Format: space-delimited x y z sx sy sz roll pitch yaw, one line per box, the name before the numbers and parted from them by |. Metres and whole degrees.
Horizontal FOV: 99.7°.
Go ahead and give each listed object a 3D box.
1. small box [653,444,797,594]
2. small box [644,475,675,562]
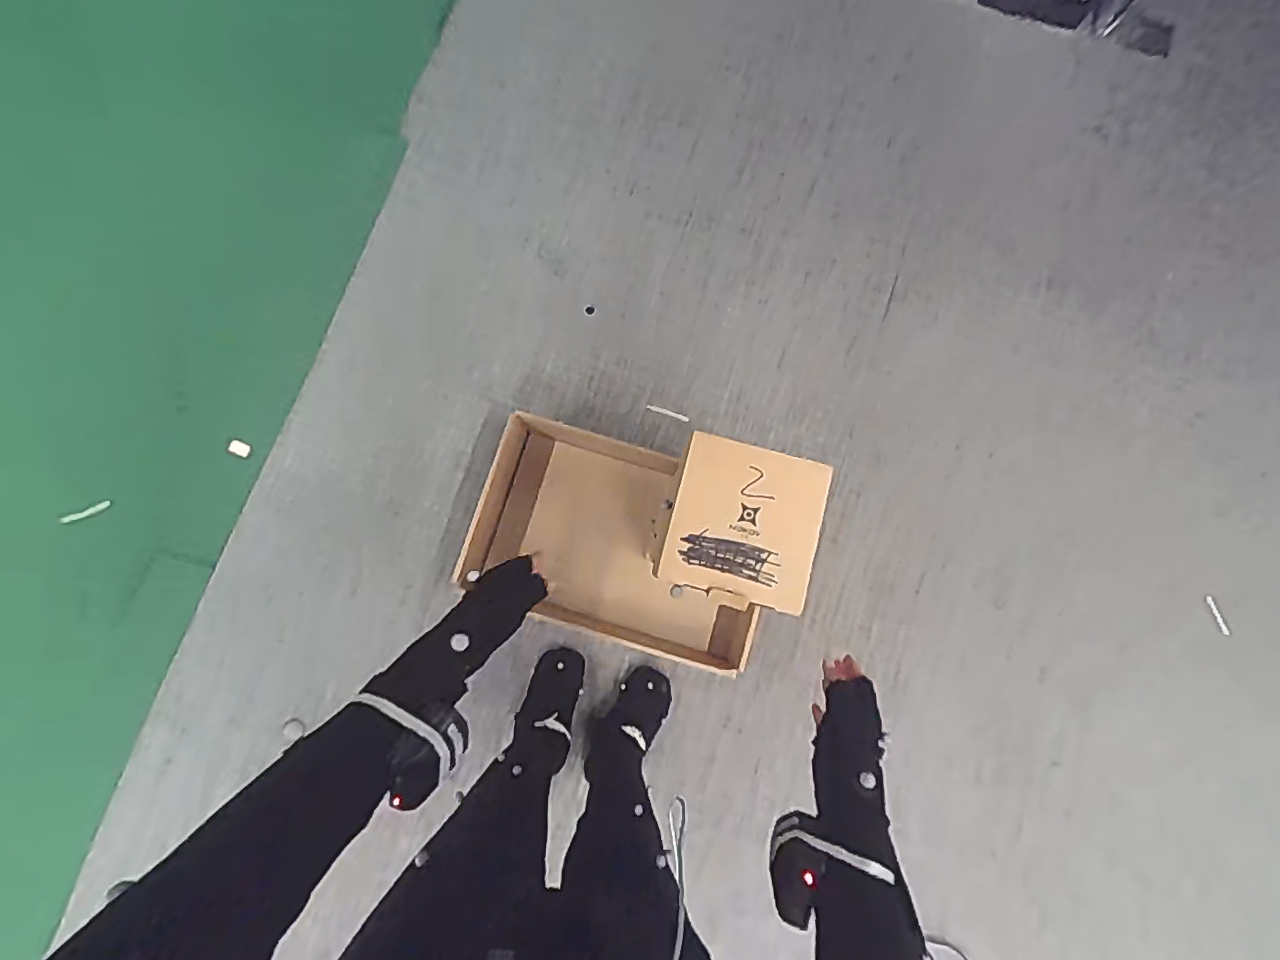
small box | 0.122 0.064 0.846 0.168 0.176 0.179 18 82 1
small box | 0.109 0.102 1.173 0.168 0.176 0.179 12 81 3
